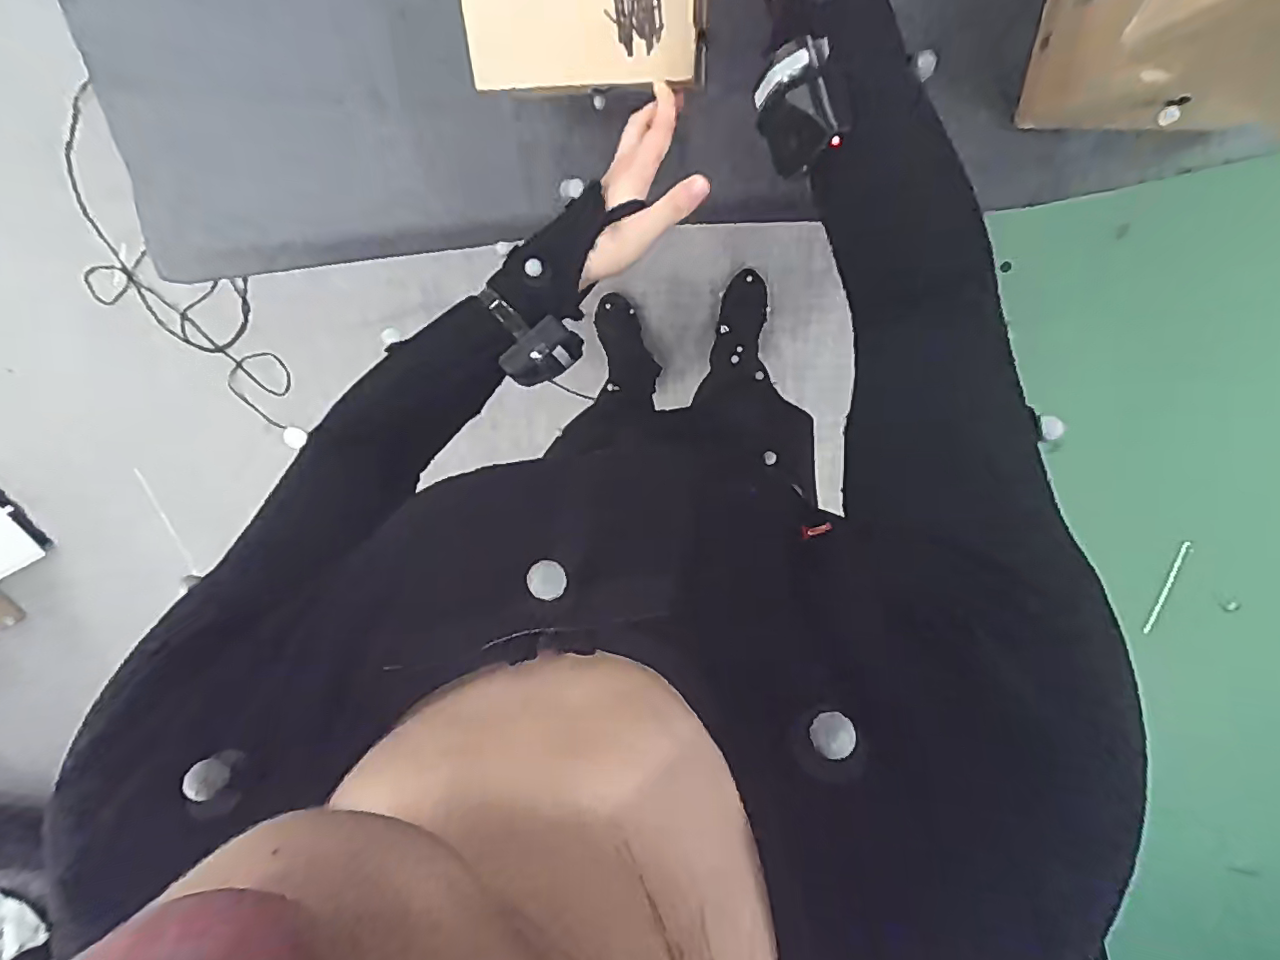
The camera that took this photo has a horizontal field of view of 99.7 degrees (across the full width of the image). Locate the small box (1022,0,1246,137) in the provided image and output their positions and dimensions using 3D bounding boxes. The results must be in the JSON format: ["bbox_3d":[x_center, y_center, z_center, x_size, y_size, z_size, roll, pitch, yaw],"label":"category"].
[{"bbox_3d":[0.425,-0.358,0.392,0.179,0.176,0.168,6,115,8],"label":"small box"}]
